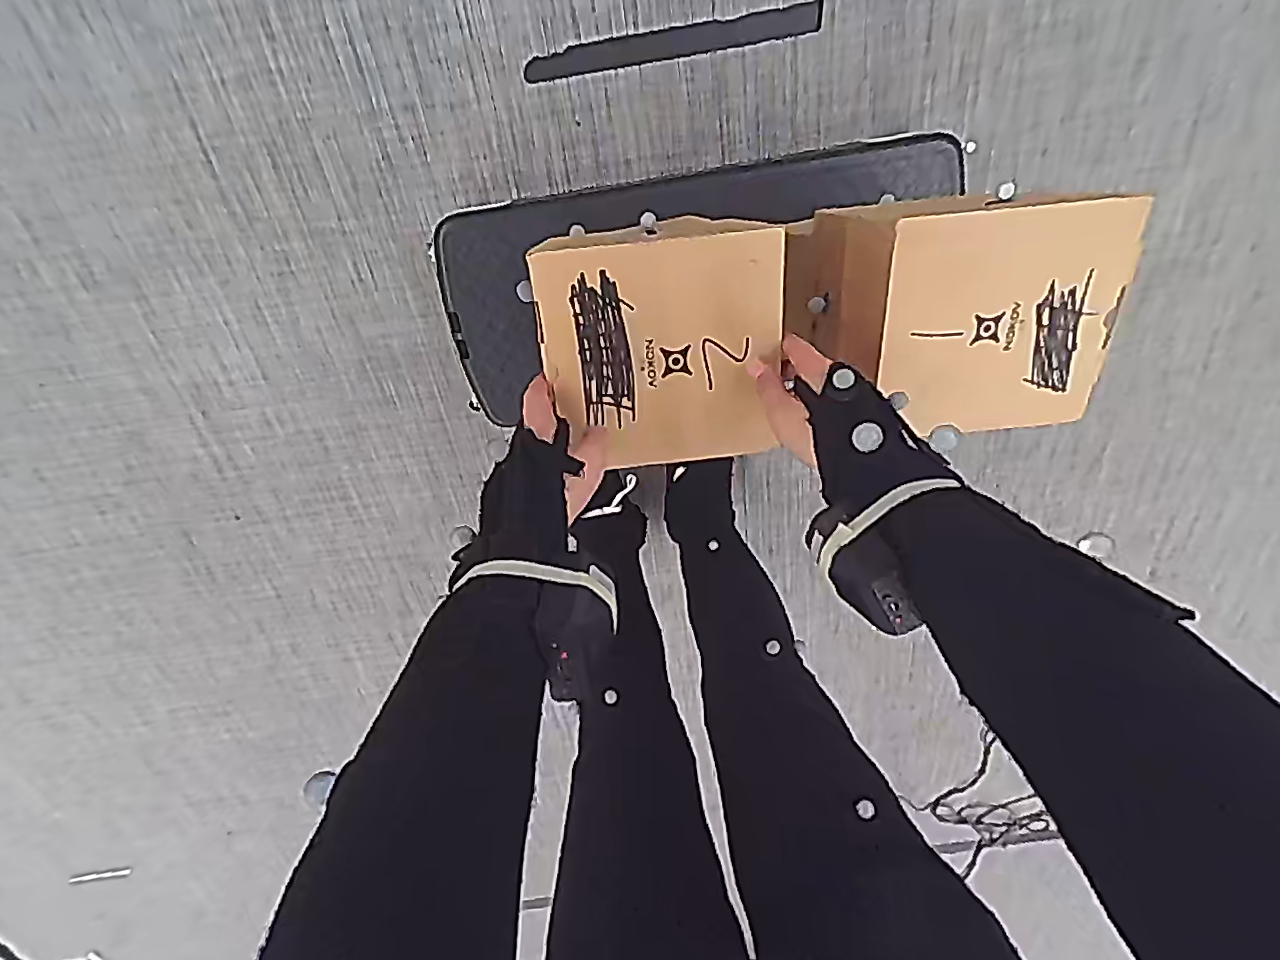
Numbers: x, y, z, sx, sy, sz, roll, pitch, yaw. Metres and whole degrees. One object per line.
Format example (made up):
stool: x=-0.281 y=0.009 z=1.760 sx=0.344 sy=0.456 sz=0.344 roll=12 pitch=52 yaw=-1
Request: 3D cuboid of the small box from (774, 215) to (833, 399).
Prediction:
small box: x=0.259 y=-0.213 z=0.622 sx=0.168 sy=0.176 sz=0.179 roll=-10 pitch=118 yaw=2

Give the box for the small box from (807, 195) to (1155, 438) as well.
small box: x=0.263 y=-0.150 z=0.470 sx=0.179 sy=0.176 sz=0.168 roll=-5 pitch=118 yaw=0
